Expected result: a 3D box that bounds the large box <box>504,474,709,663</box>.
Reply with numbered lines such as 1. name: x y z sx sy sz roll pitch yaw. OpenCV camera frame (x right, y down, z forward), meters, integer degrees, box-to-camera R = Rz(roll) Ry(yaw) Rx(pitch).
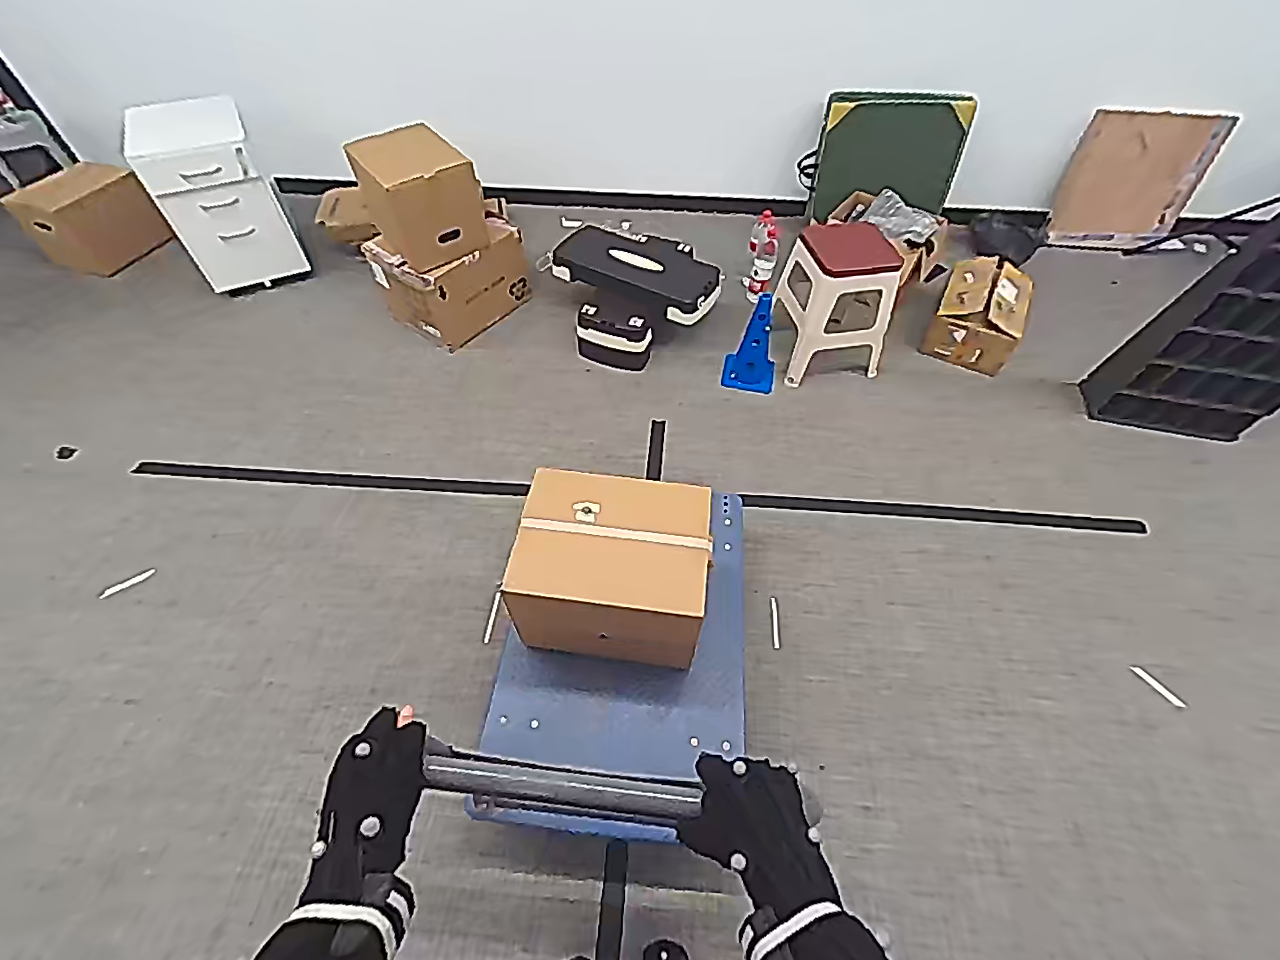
1. large box: -0.056 0.213 1.265 0.408 0.320 0.320 6 53 5
